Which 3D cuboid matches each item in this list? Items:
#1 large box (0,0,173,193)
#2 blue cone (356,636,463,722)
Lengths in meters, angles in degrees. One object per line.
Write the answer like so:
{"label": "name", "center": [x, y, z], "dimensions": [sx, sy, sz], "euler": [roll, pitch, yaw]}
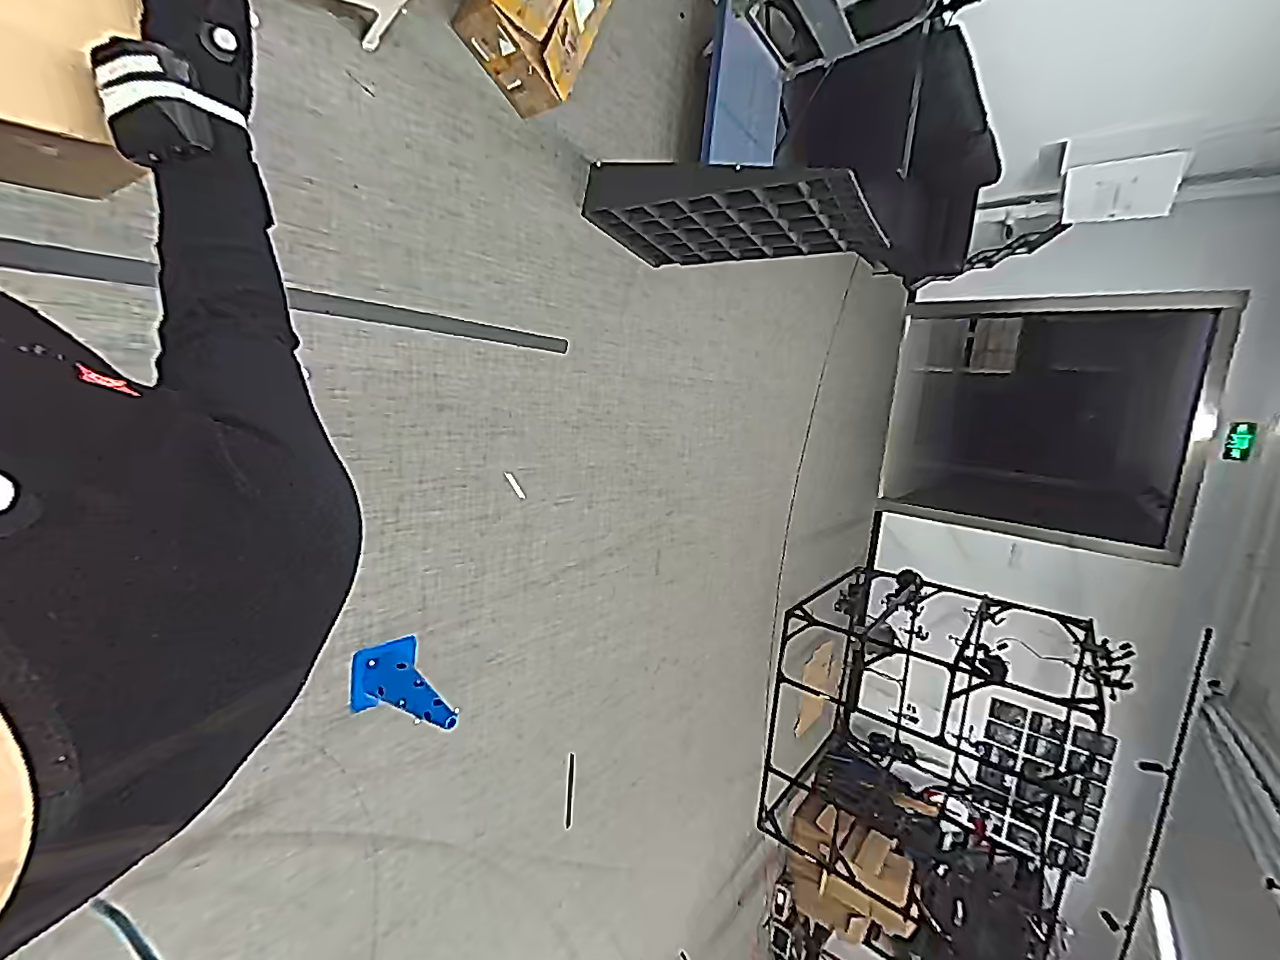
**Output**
{"label": "large box", "center": [-0.595, -0.403, 0.322], "dimensions": [0.408, 0.320, 0.320], "euler": [-13, 112, -51]}
{"label": "blue cone", "center": [-0.653, 0.617, 1.579], "dimensions": [0.192, 0.380, 0.193], "euler": [-1, 100, -54]}
